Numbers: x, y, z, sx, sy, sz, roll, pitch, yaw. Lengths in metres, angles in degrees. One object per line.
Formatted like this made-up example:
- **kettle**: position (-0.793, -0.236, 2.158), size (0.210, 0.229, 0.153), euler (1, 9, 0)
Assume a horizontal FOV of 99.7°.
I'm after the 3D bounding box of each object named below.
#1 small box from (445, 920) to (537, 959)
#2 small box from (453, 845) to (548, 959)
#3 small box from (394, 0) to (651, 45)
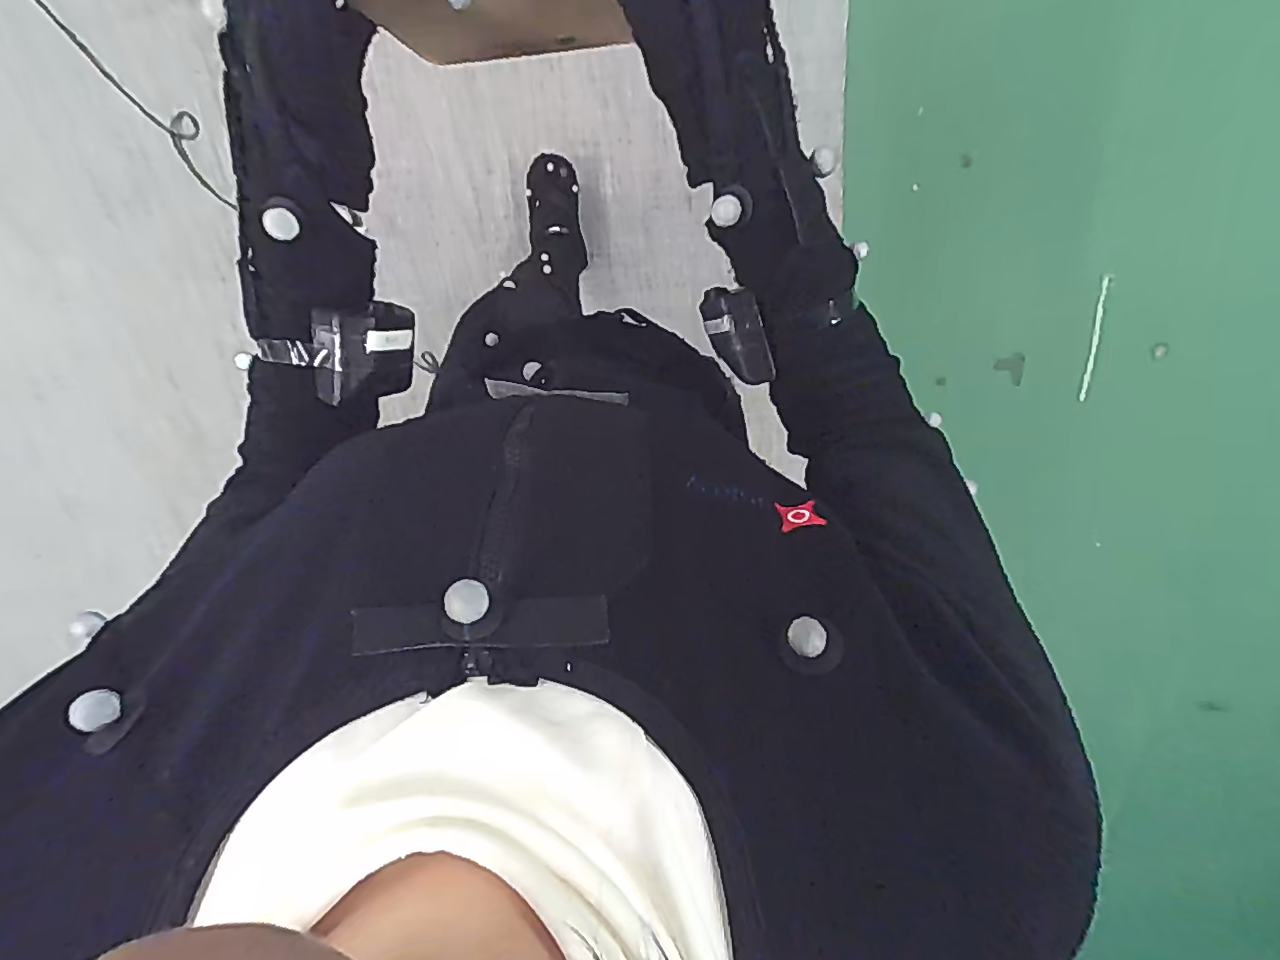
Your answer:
- **small box**: position (-0.316, 1.077, 1.136), size (0.168, 0.176, 0.179), euler (-8, 110, -1)
- **small box**: position (-0.322, 1.017, 1.288), size (0.168, 0.176, 0.179), euler (-10, 110, 1)
- **small box**: position (-0.080, -0.359, 0.272), size (0.168, 0.176, 0.179), euler (-4, 114, 3)
